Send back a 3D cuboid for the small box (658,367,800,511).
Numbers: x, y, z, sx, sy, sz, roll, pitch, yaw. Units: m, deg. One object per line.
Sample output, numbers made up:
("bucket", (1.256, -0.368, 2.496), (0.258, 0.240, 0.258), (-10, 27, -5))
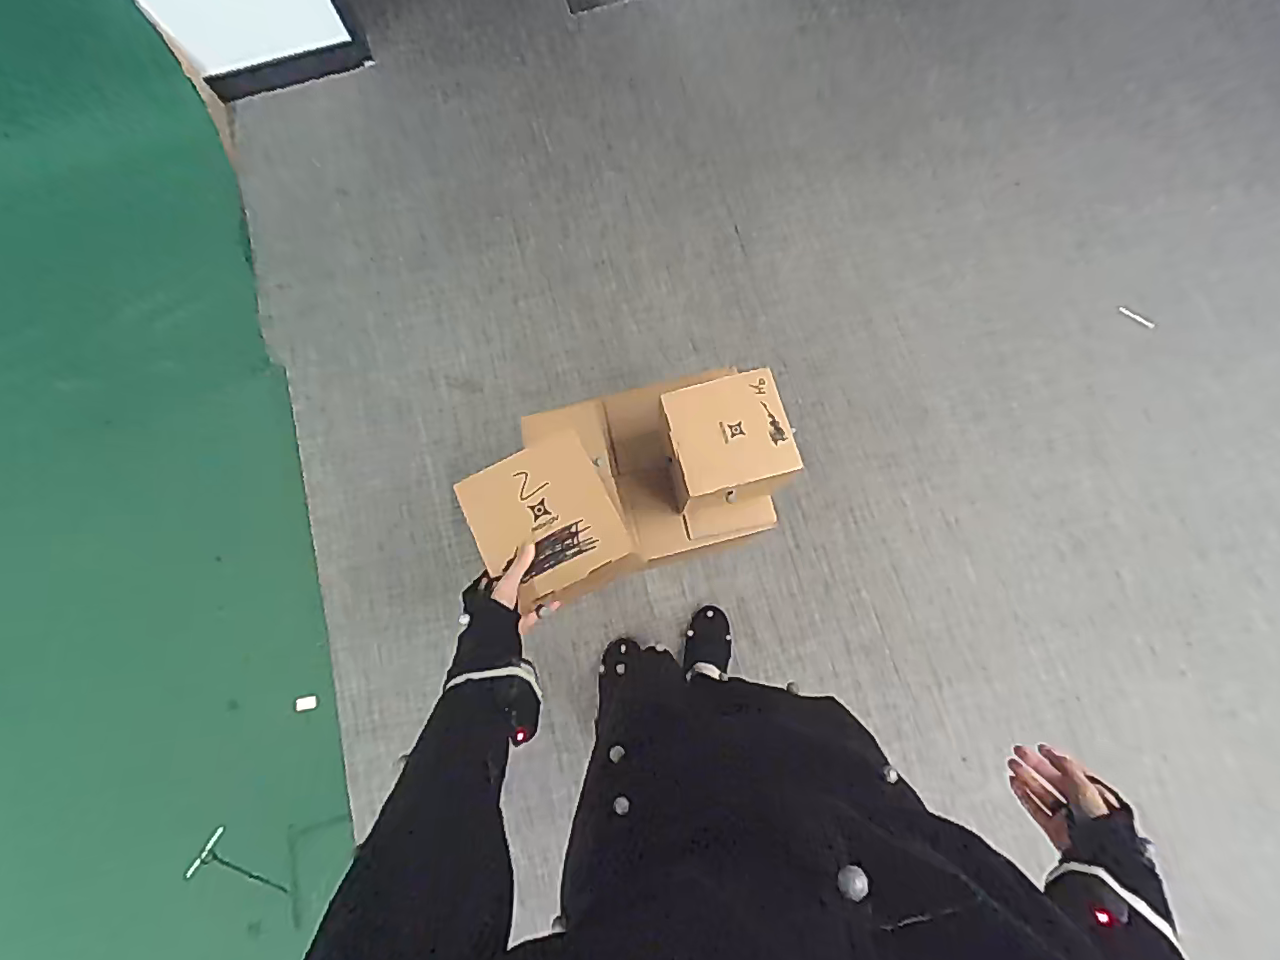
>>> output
("small box", (0.133, -0.056, 0.872), (0.179, 0.176, 0.168), (-15, 79, -1))
